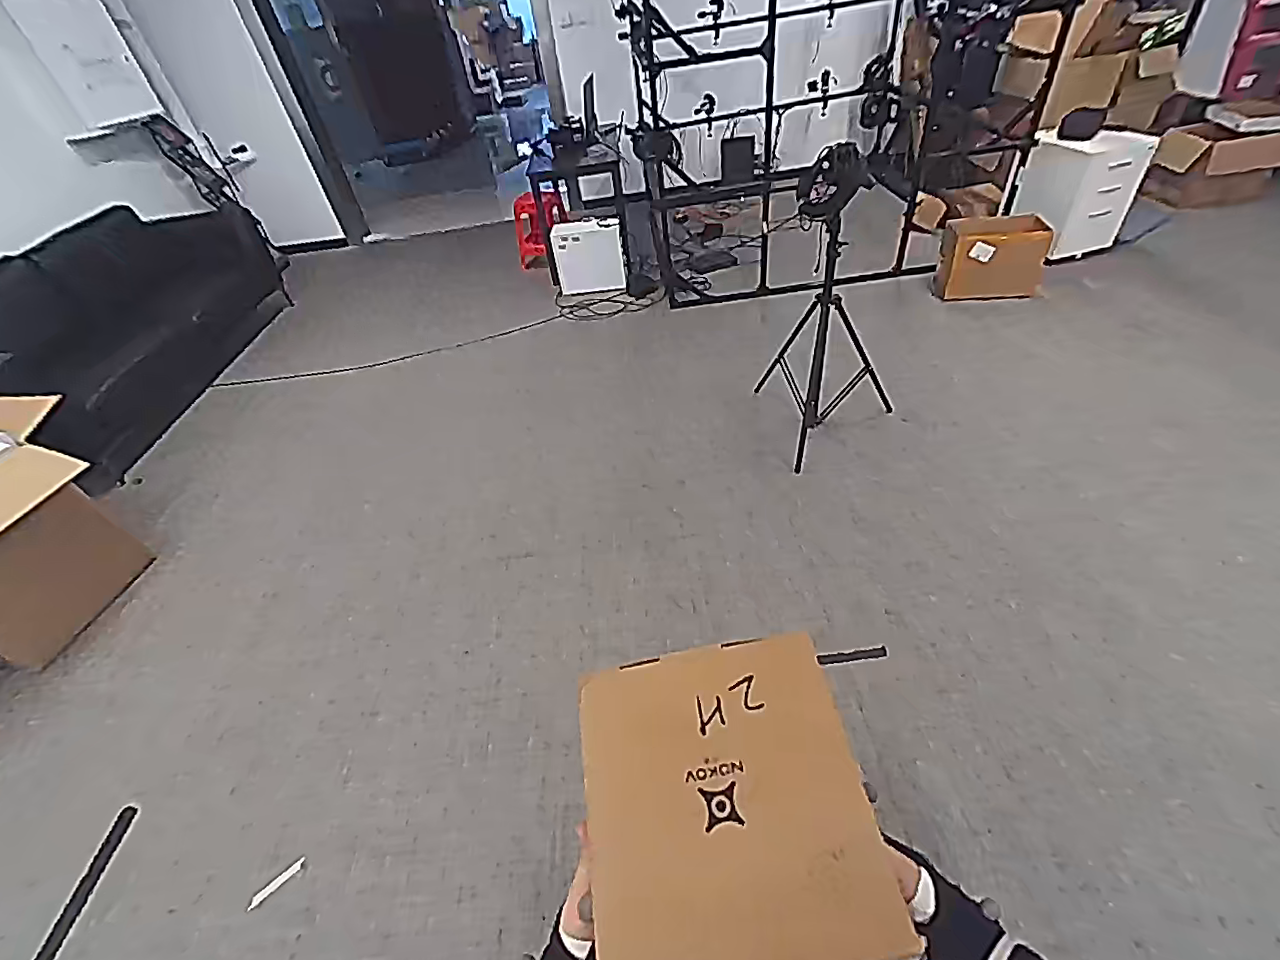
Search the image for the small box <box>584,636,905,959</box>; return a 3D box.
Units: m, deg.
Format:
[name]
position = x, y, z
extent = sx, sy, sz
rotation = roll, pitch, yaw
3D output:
[small box]
position = 0.061, 0.240, 0.395
extent = 0.168, 0.176, 0.179
rotation = -11, 50, 2
